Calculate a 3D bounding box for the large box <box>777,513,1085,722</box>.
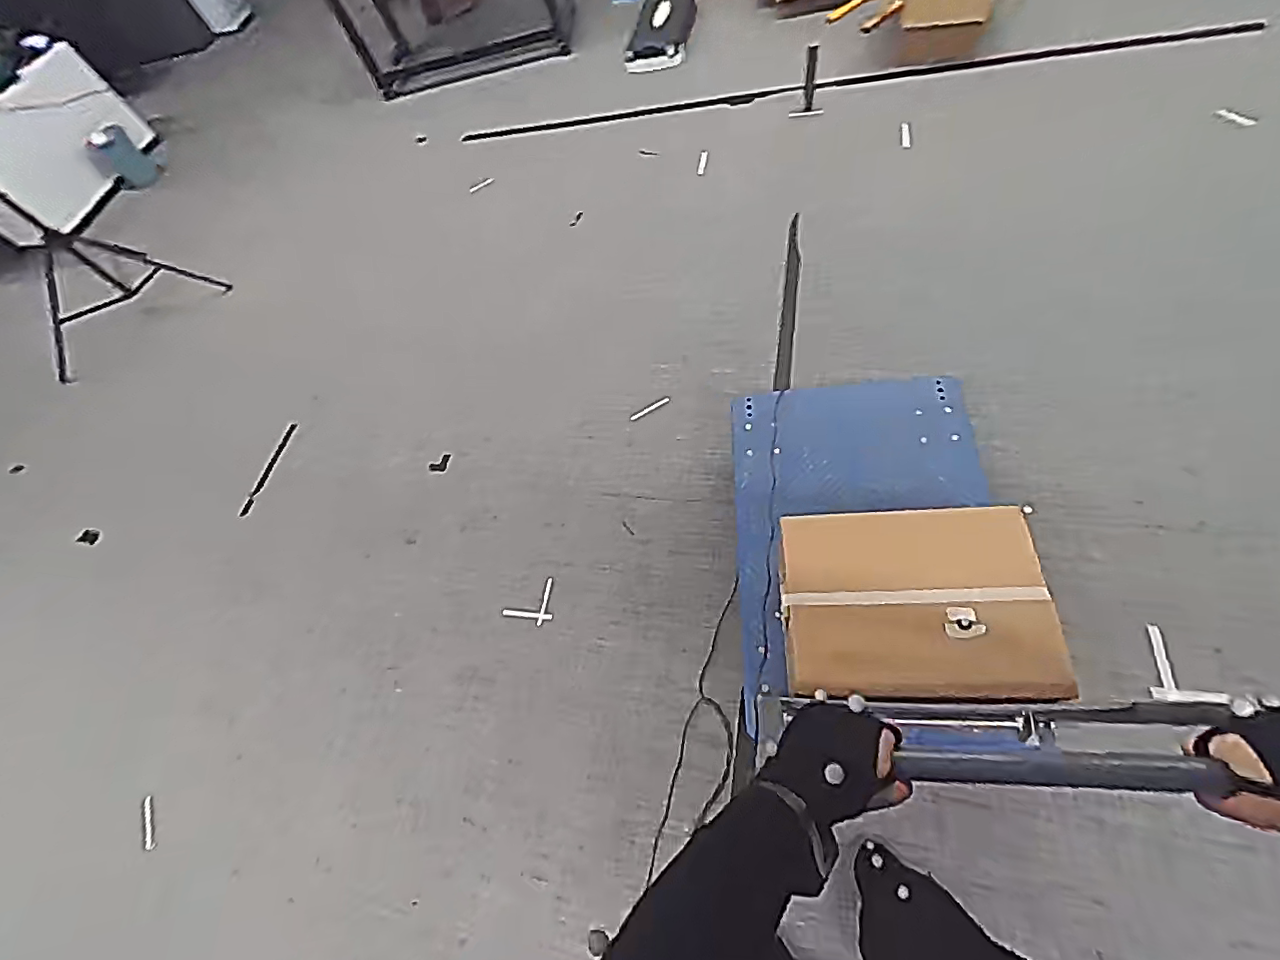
[{"bbox_3d":[0.479,0.273,1.009,0.408,0.320,0.320,-3,63,11],"label":"large box"}]
